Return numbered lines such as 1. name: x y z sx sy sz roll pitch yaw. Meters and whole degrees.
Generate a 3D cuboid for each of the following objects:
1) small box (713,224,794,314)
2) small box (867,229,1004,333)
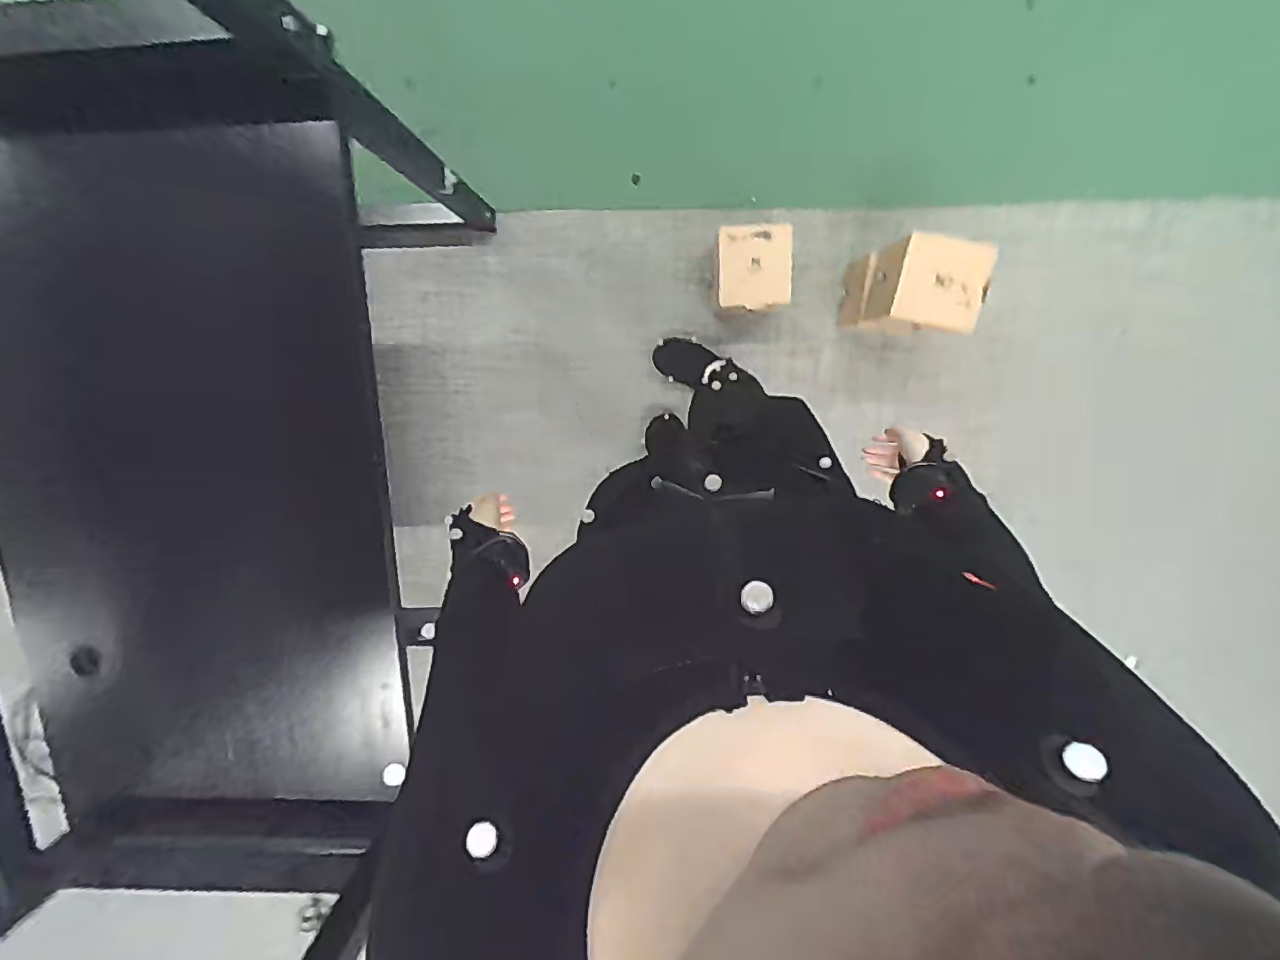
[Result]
1. small box: 0.265 -0.494 1.292 0.168 0.176 0.179 -2 101 3
2. small box: 0.601 -0.405 1.128 0.179 0.176 0.168 11 103 0
